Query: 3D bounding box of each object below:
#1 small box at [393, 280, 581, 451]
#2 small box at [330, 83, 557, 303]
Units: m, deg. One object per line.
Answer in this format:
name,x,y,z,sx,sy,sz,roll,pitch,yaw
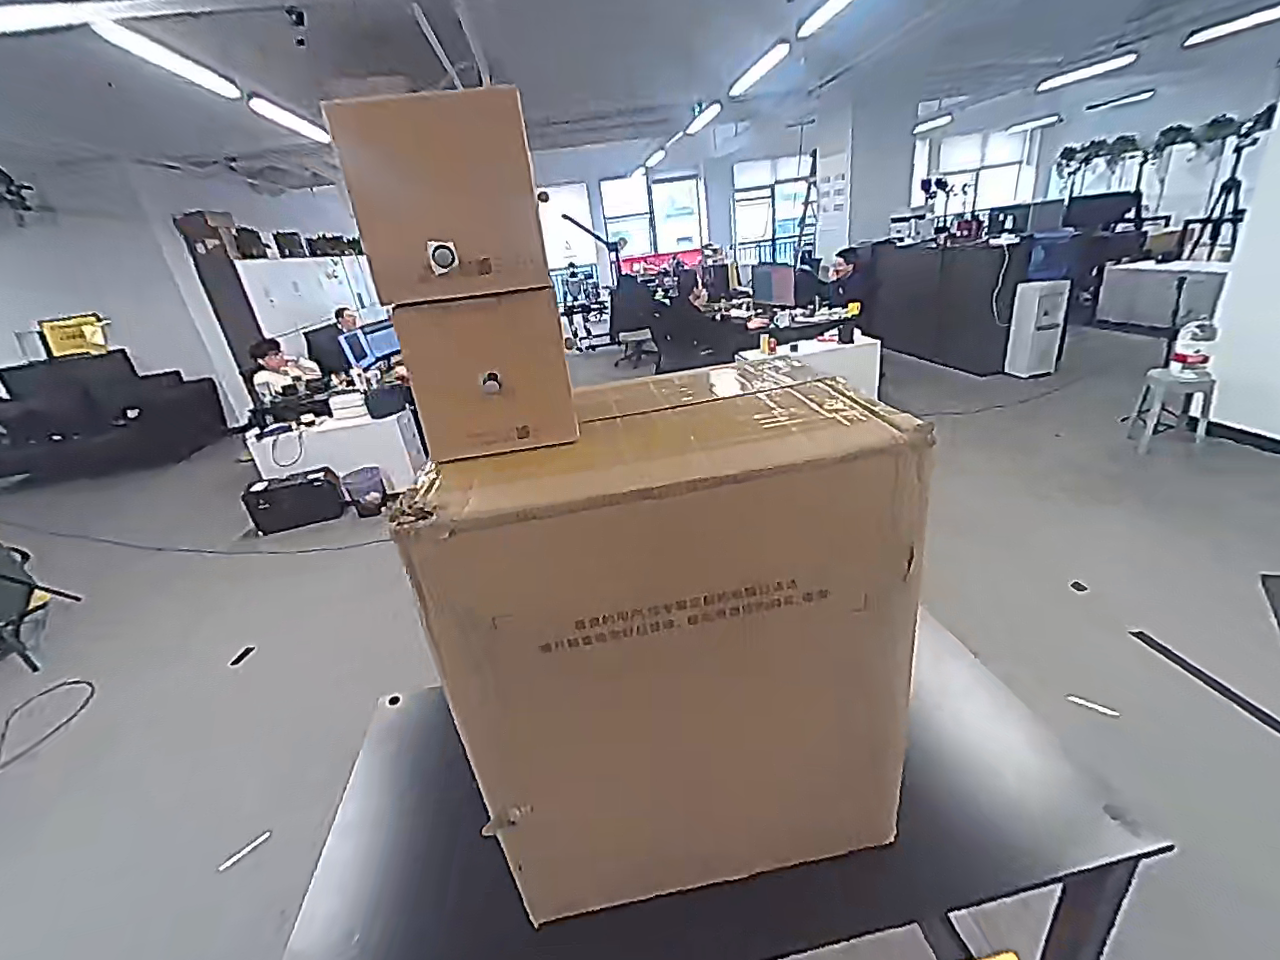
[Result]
small box,-0.166,-0.140,0.640,0.168,0.176,0.179,-9,24,-6
small box,-0.184,-0.283,0.563,0.168,0.176,0.179,-11,24,-7
